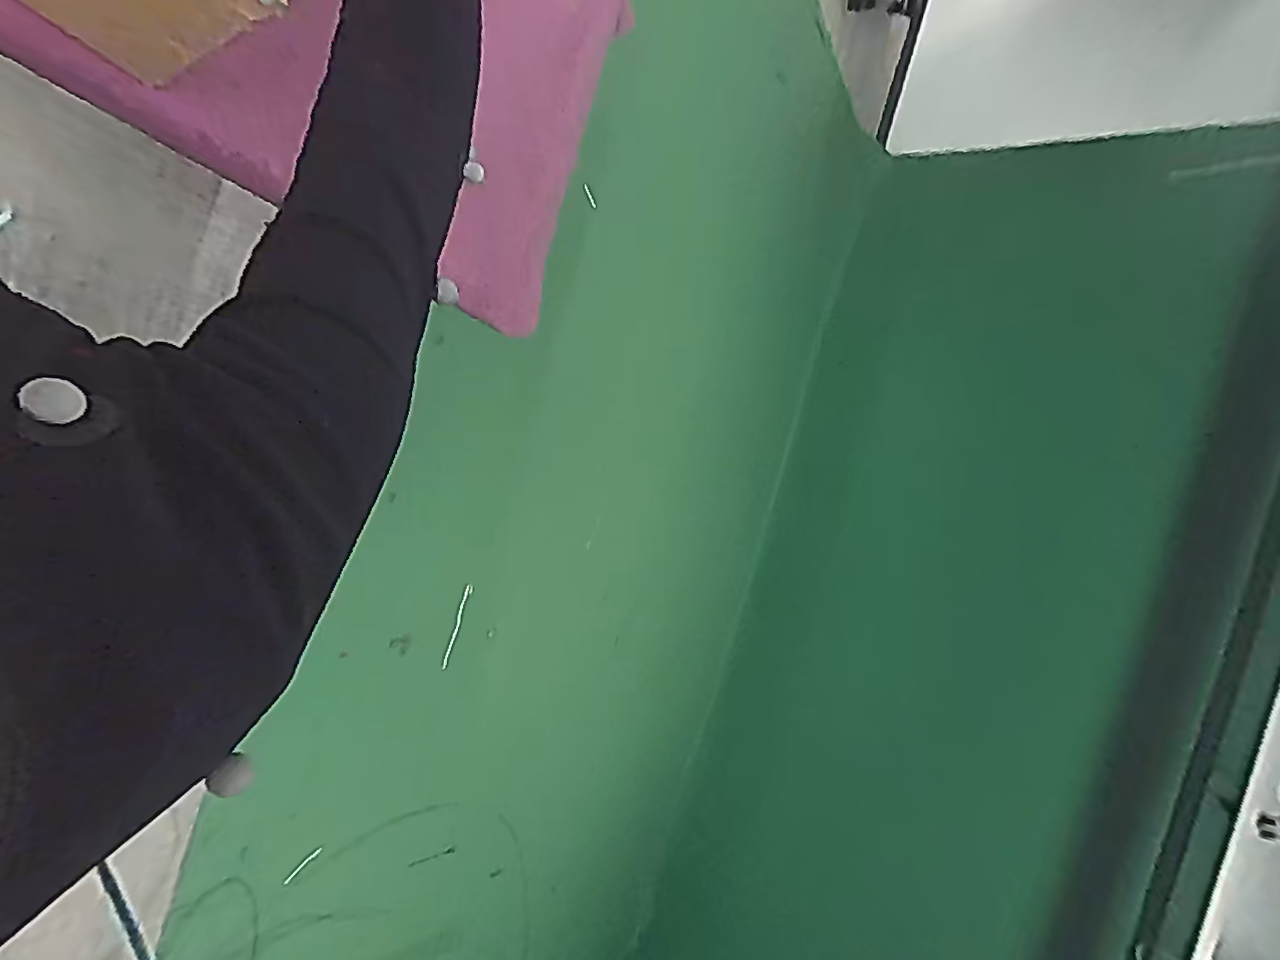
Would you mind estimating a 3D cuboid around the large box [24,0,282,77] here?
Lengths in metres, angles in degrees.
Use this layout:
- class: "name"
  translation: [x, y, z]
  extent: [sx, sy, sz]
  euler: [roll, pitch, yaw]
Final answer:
- class: "large box"
  translation: [-0.393, -0.586, 0.349]
  extent: [0.320, 0.320, 0.408]
  euler: [23, 85, -55]
